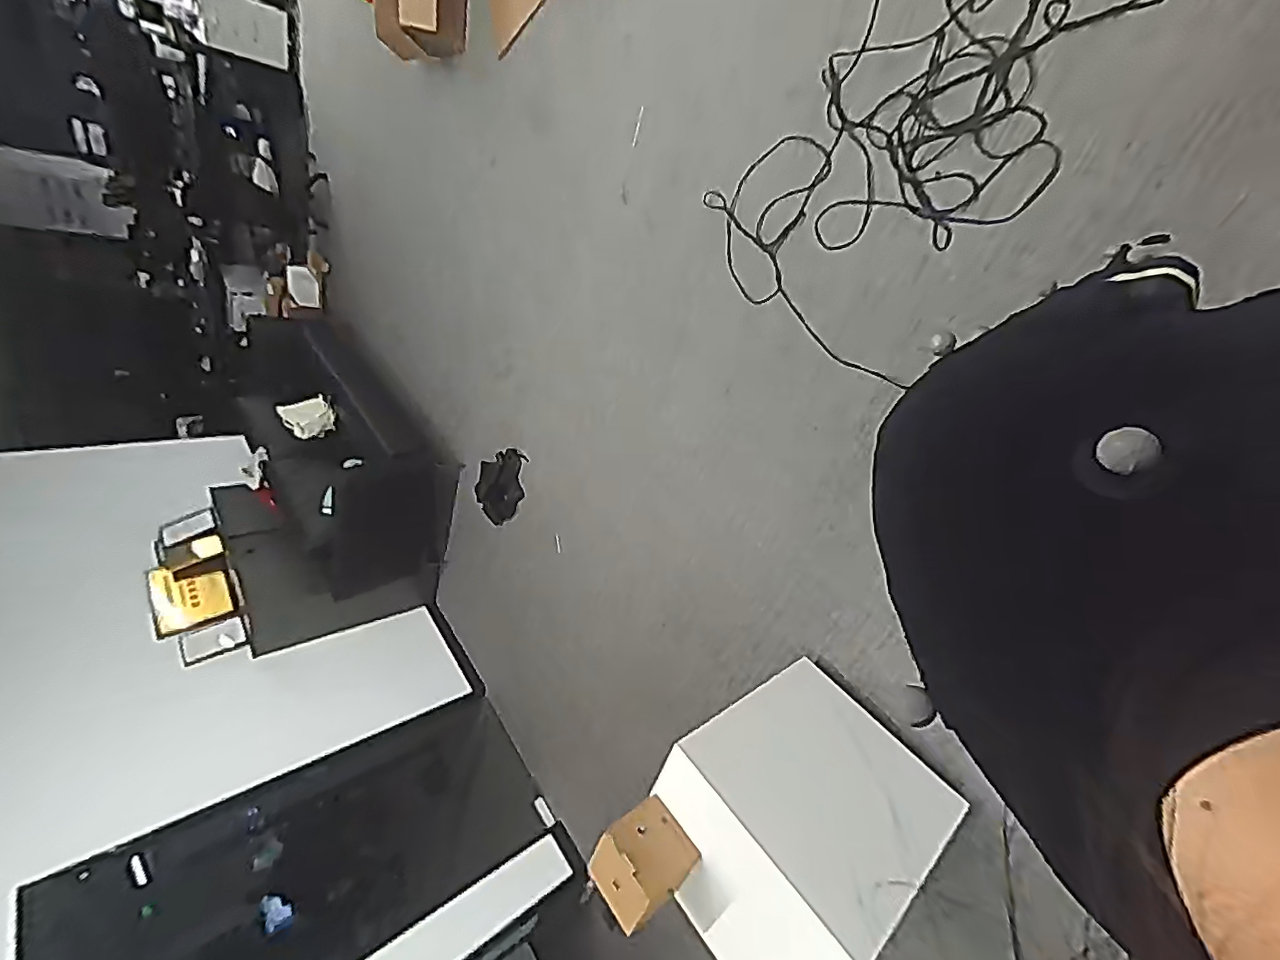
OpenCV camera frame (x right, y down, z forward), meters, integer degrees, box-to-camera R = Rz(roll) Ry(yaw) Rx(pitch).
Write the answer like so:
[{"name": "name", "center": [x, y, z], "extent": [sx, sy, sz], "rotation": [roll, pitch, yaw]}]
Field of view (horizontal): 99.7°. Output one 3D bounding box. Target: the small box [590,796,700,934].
[{"name": "small box", "center": [0.014, 0.881, 1.254], "extent": [0.168, 0.176, 0.179], "rotation": [41, 127, 35]}]
